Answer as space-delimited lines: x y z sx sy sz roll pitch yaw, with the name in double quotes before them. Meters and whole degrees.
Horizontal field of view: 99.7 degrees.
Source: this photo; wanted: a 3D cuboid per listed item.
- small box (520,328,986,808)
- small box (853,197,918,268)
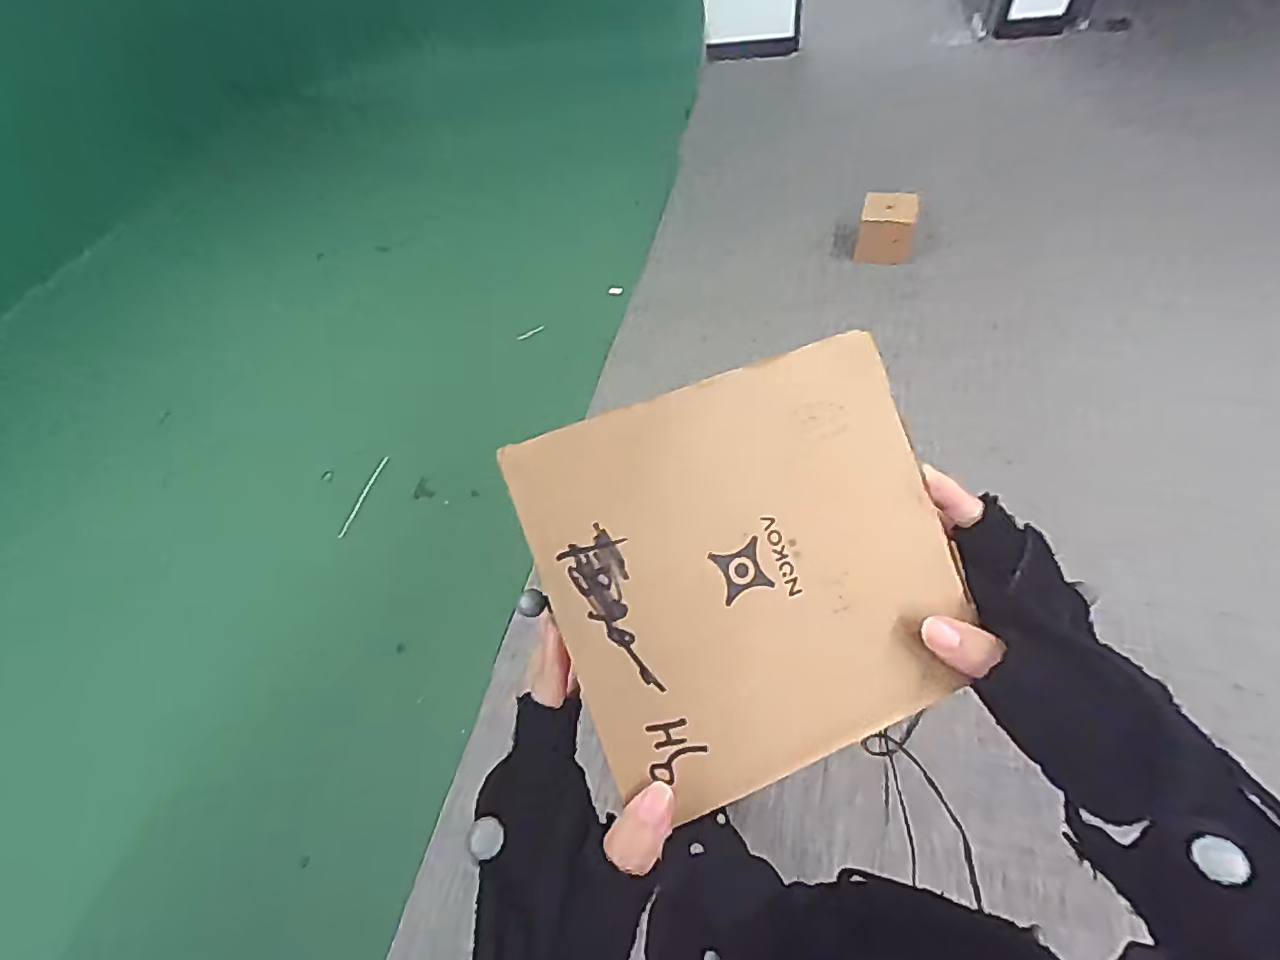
"small box" 0.041 0.038 0.314 0.179 0.176 0.168 -19 87 -10
"small box" 0.876 -0.884 1.938 0.179 0.176 0.168 11 60 18
